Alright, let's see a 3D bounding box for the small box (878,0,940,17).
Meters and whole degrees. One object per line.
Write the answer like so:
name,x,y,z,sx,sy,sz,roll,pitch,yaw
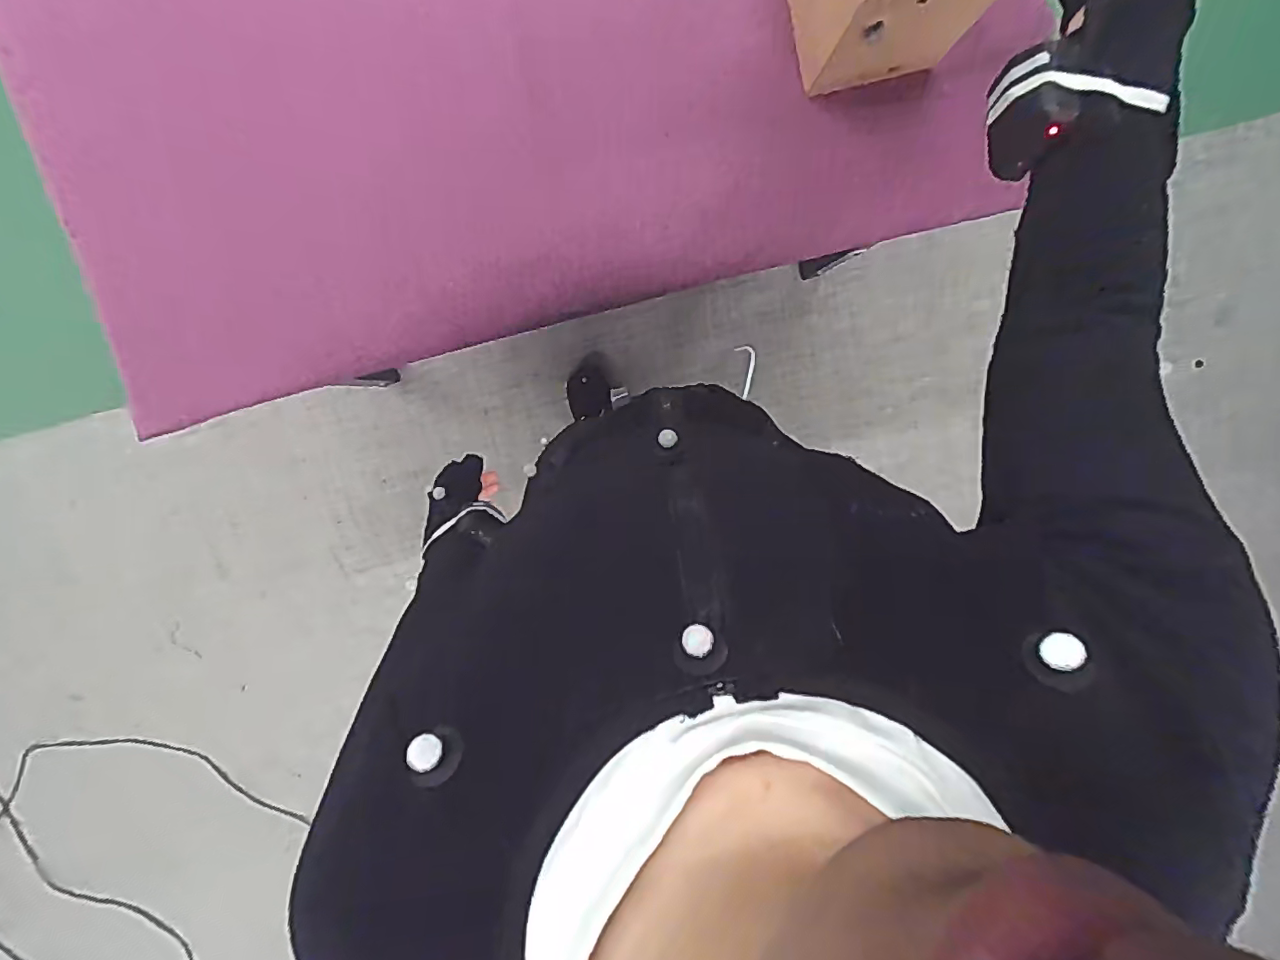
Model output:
small box,0.271,-0.522,0.411,0.168,0.176,0.179,-20,99,2
